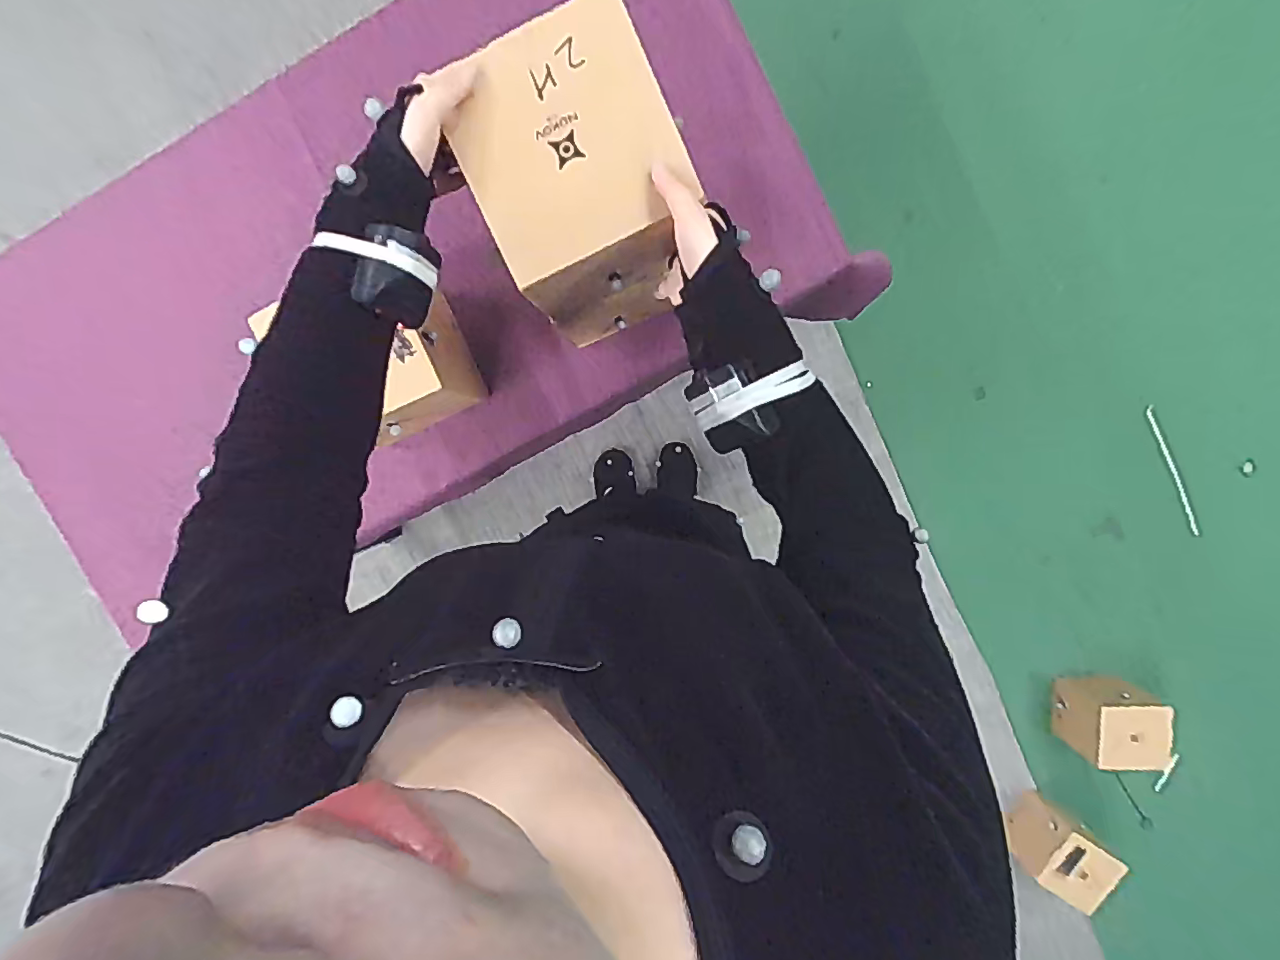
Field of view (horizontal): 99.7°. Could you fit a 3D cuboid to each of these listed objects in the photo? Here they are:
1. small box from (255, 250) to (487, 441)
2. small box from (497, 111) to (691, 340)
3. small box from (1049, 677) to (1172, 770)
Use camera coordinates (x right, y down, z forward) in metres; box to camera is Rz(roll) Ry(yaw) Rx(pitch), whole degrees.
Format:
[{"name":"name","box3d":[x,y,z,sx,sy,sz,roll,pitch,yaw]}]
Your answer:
[{"name":"small box","box3d":[-0.326,-0.156,0.692,0.179,0.176,0.168,-24,94,4]},{"name":"small box","box3d":[-0.048,-0.294,0.667,0.168,0.176,0.179,-22,94,5]},{"name":"small box","box3d":[1.228,0.633,1.421,0.179,0.176,0.168,0,95,2]}]
